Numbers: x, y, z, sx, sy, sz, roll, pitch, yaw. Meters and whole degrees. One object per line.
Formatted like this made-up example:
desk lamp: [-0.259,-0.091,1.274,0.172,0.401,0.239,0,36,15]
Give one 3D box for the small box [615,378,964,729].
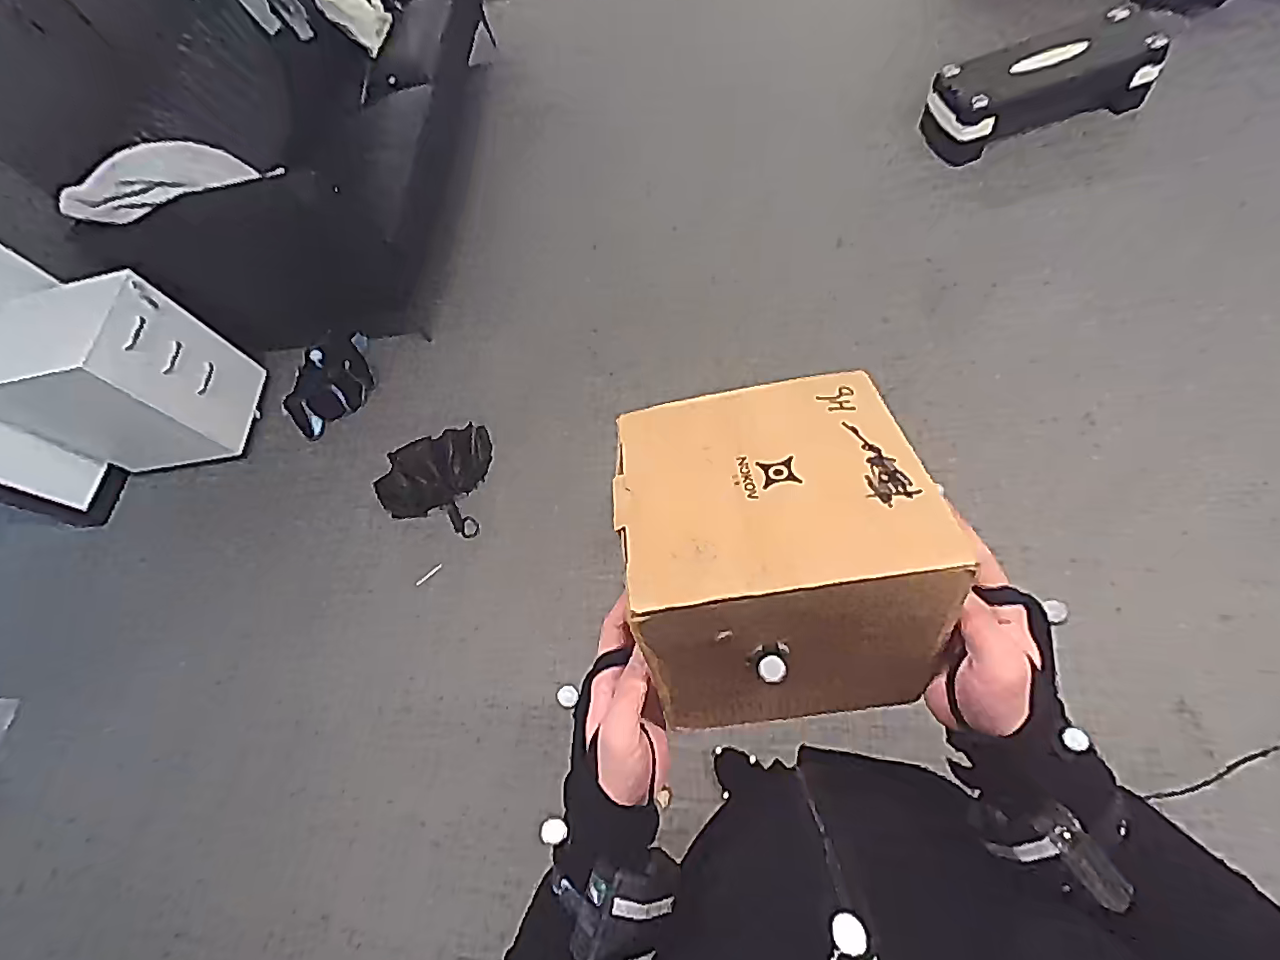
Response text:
small box: [0.086,0.056,0.379,0.179,0.176,0.168,-10,44,5]
